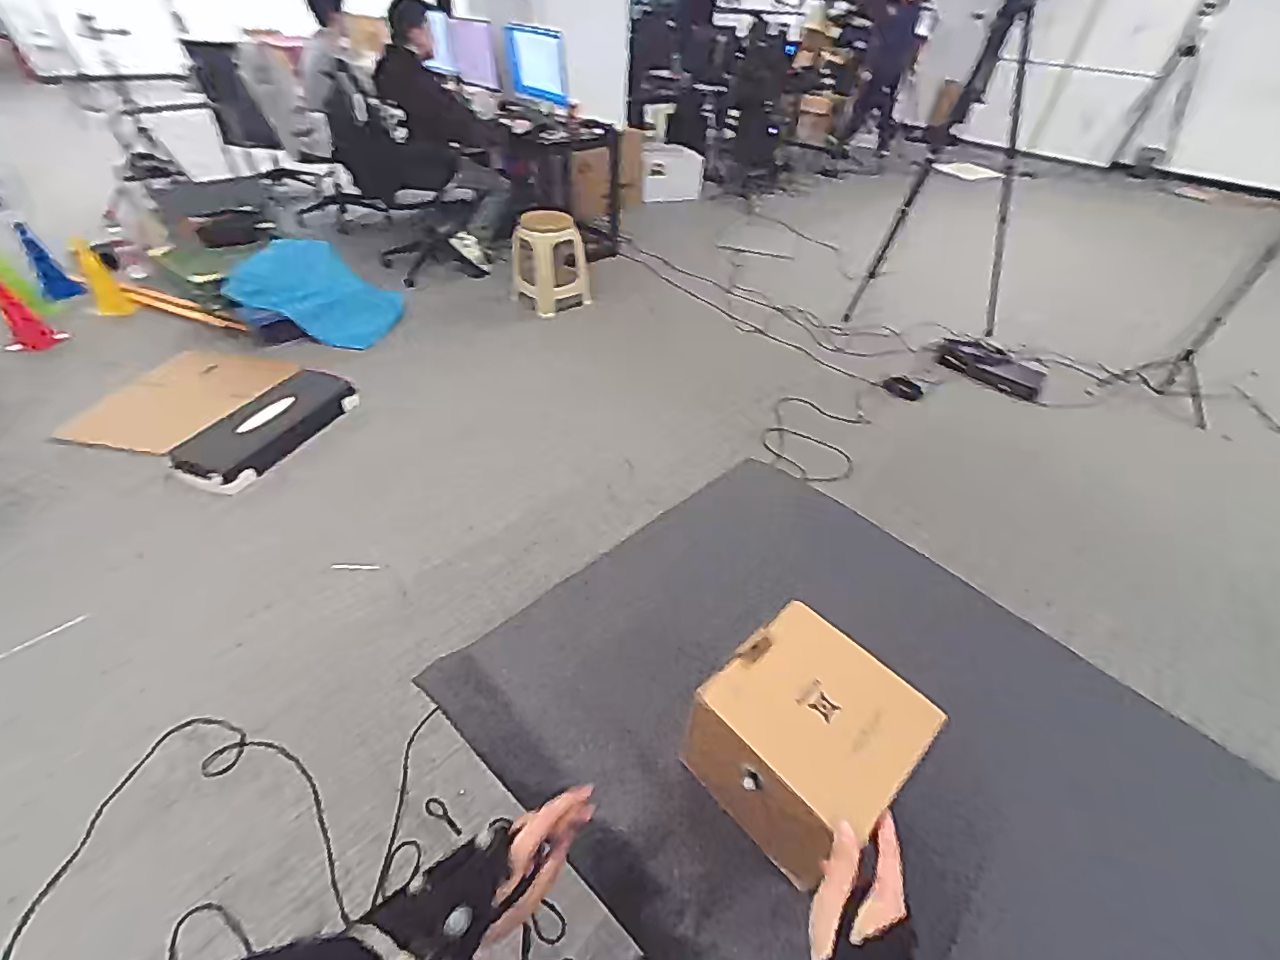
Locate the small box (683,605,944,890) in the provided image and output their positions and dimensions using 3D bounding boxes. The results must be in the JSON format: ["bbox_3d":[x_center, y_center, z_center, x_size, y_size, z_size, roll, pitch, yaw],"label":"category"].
[{"bbox_3d":[0.162,0.273,0.559,0.168,0.176,0.179,-30,53,-31],"label":"small box"}]
